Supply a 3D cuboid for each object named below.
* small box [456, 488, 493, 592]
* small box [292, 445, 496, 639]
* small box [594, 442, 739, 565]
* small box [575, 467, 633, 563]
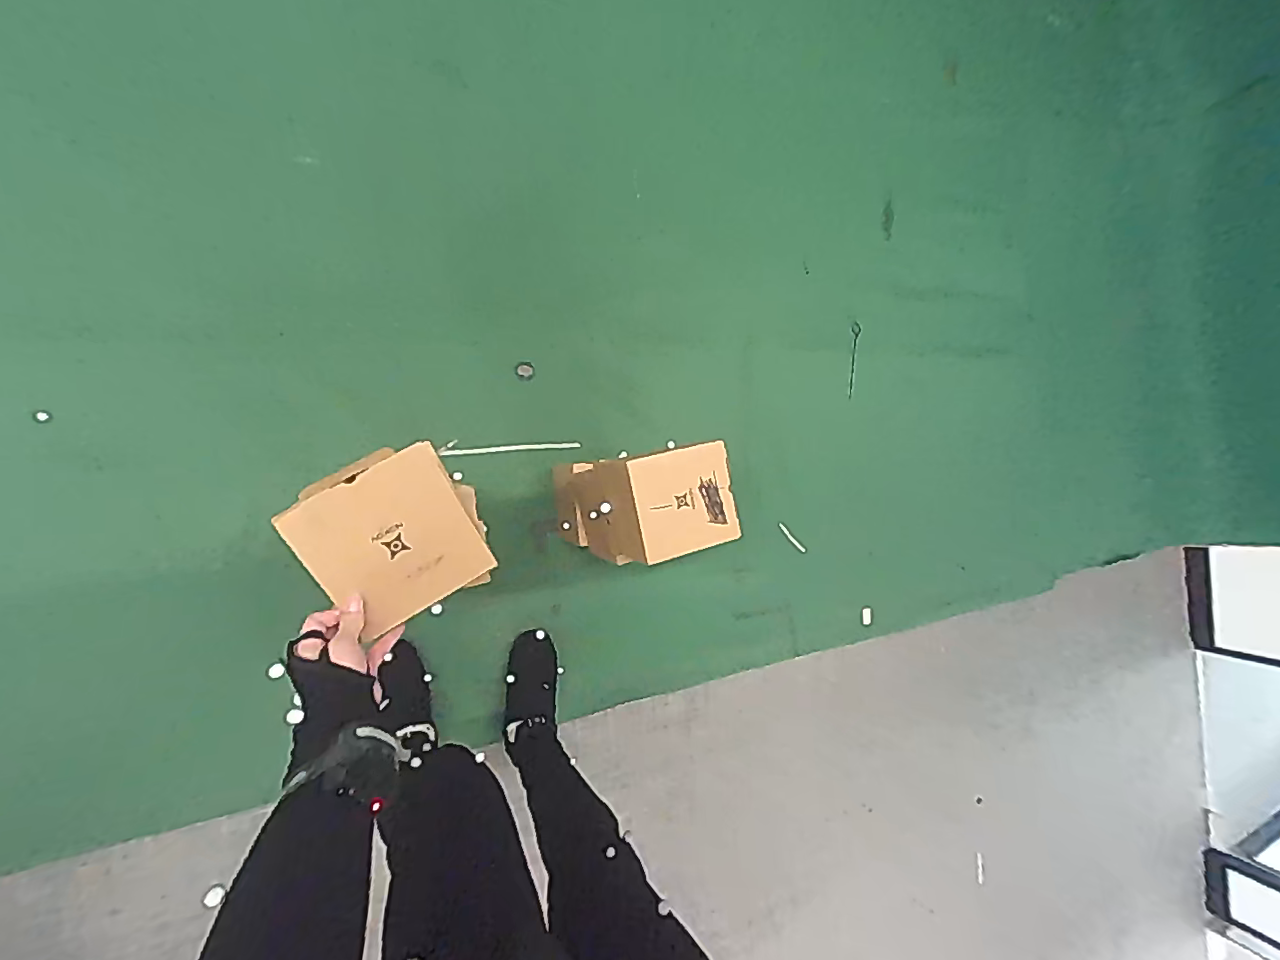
[{"bbox_3d":[-0.367,0.106,0.935,0.179,0.176,0.168,-11,93,-22],"label":"small box"},{"bbox_3d":[-0.301,0.079,0.700,0.168,0.176,0.179,-30,91,-16],"label":"small box"},{"bbox_3d":[0.040,0.032,0.921,0.179,0.176,0.168,-14,95,-21],"label":"small box"},{"bbox_3d":[-0.017,0.049,1.075,0.168,0.176,0.179,-17,97,-21],"label":"small box"}]
